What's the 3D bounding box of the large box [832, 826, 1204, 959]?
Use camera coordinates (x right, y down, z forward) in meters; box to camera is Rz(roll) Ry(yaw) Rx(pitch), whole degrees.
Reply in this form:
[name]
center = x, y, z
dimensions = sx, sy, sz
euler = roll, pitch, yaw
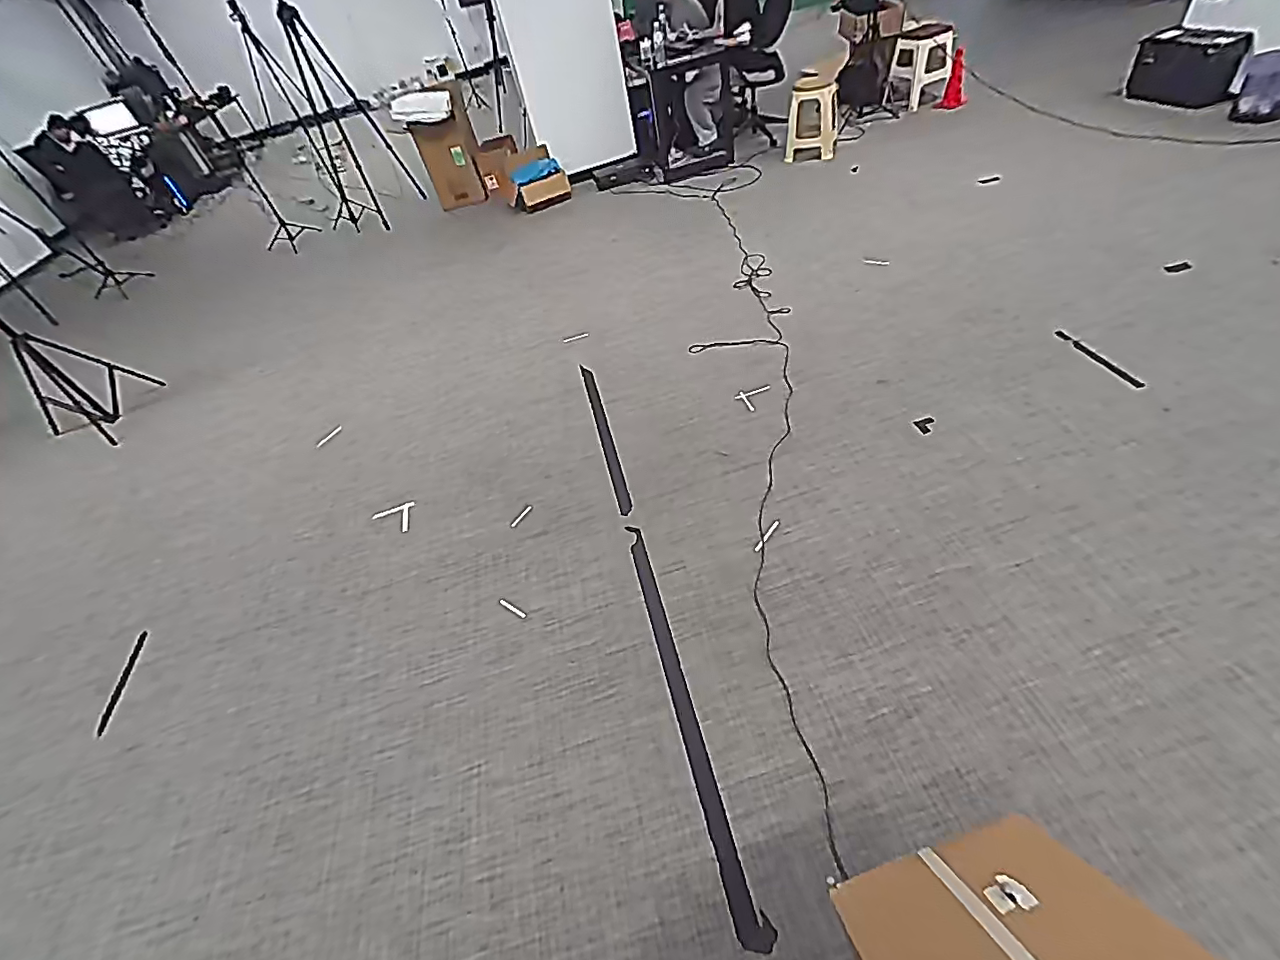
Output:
[large box]
center = 0.481, 0.689, 0.599
dimensions = 0.320, 0.408, 0.320
euler = -19, 83, -3
